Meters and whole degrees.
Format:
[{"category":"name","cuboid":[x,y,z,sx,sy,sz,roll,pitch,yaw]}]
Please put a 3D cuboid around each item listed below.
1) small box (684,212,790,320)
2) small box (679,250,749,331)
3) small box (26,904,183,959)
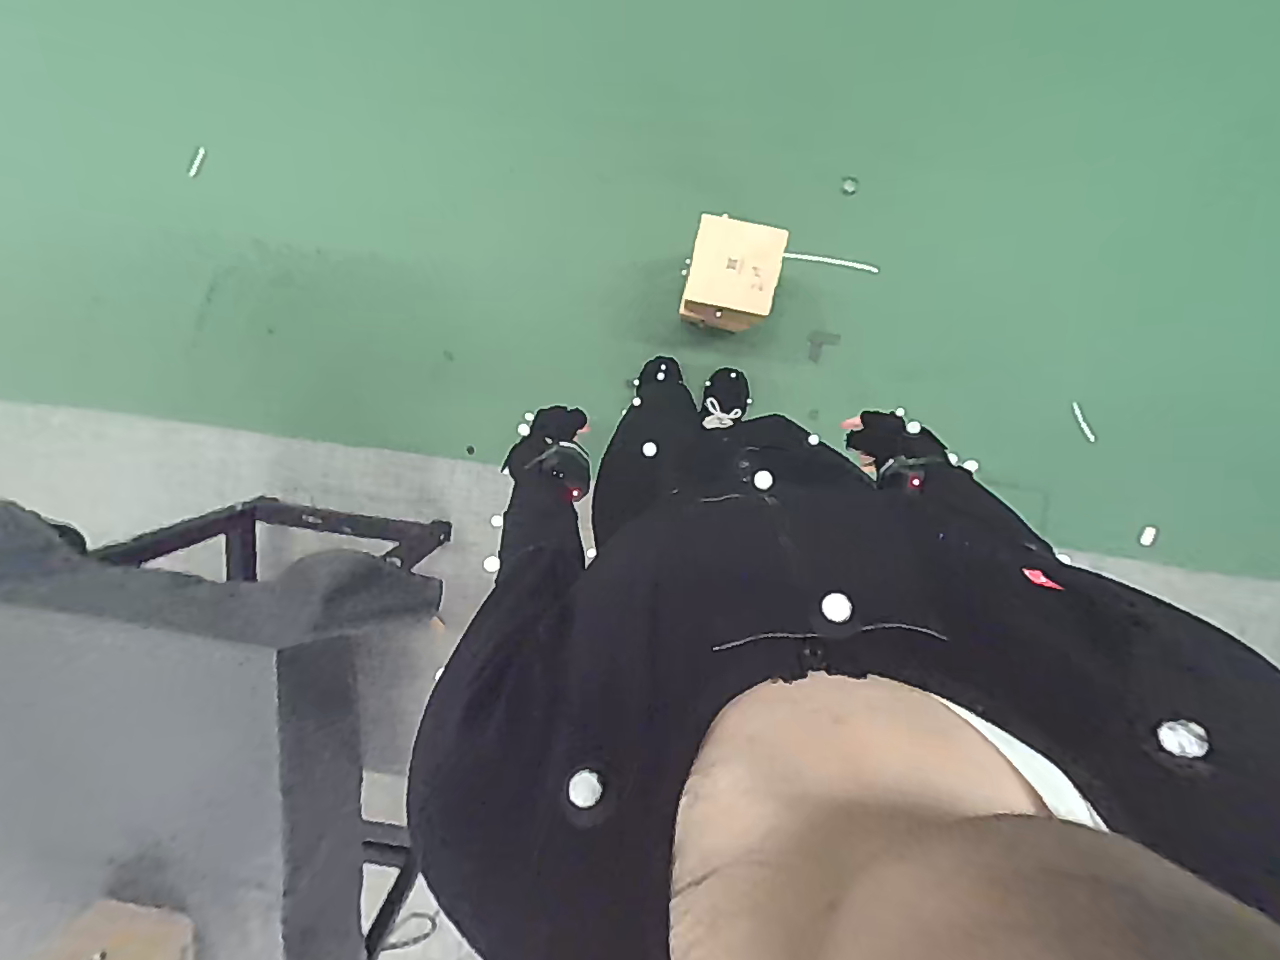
[{"category":"small box","cuboid":[0.194,-0.441,1.143,0.179,0.176,0.168,12,102,0]},{"category":"small box","cuboid":[0.194,-0.465,1.306,0.168,0.176,0.179,14,102,1]},{"category":"small box","cuboid":[-0.919,0.857,0.901,0.179,0.176,0.168,9,102,1]}]
